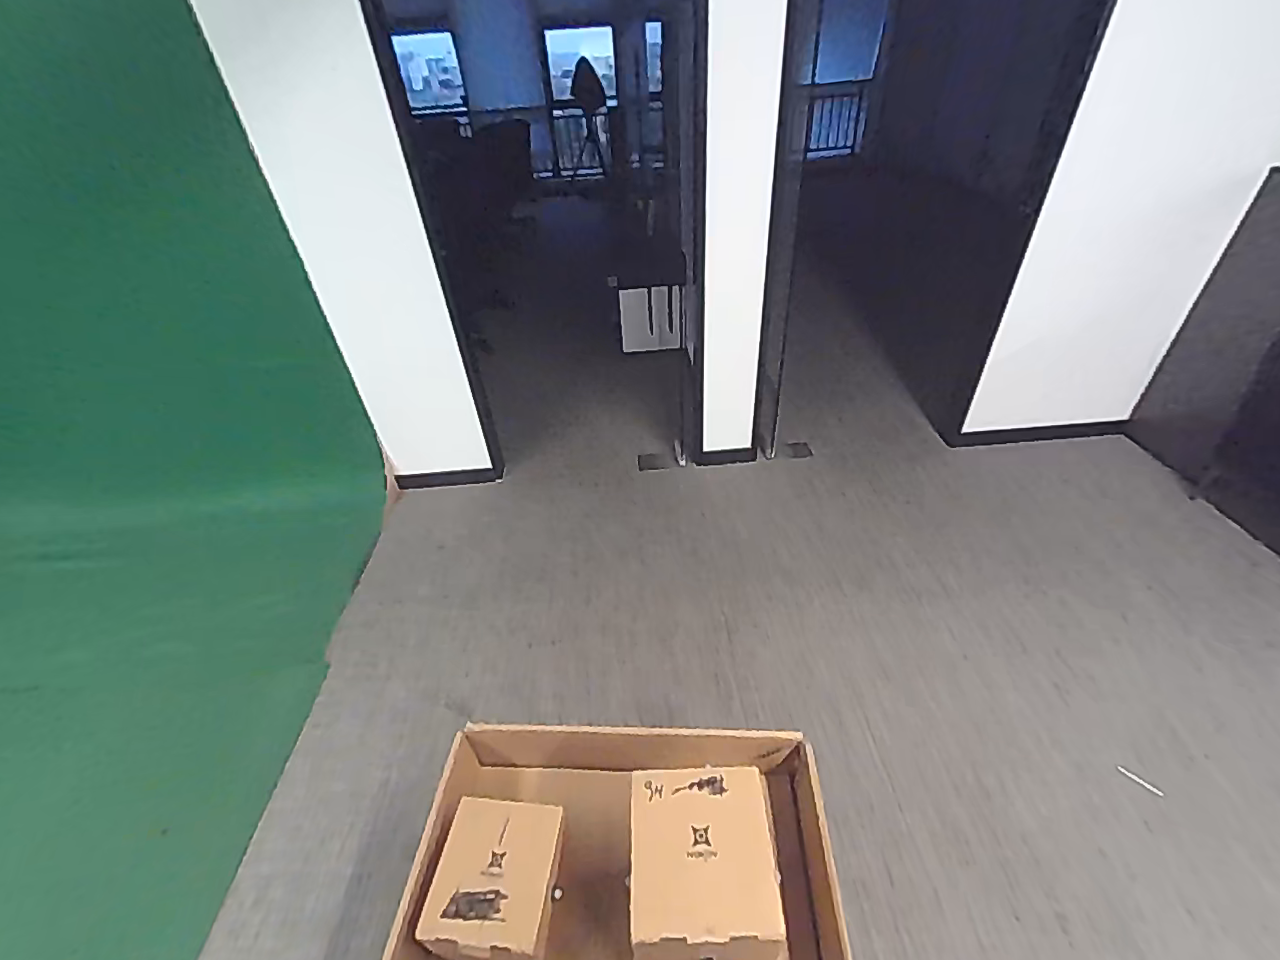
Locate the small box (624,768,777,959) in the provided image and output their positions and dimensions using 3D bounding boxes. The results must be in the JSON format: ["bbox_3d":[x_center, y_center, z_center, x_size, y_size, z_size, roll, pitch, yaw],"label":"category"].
[{"bbox_3d":[0.071,0.491,0.684,0.168,0.176,0.179,-2,39,2],"label":"small box"}]
